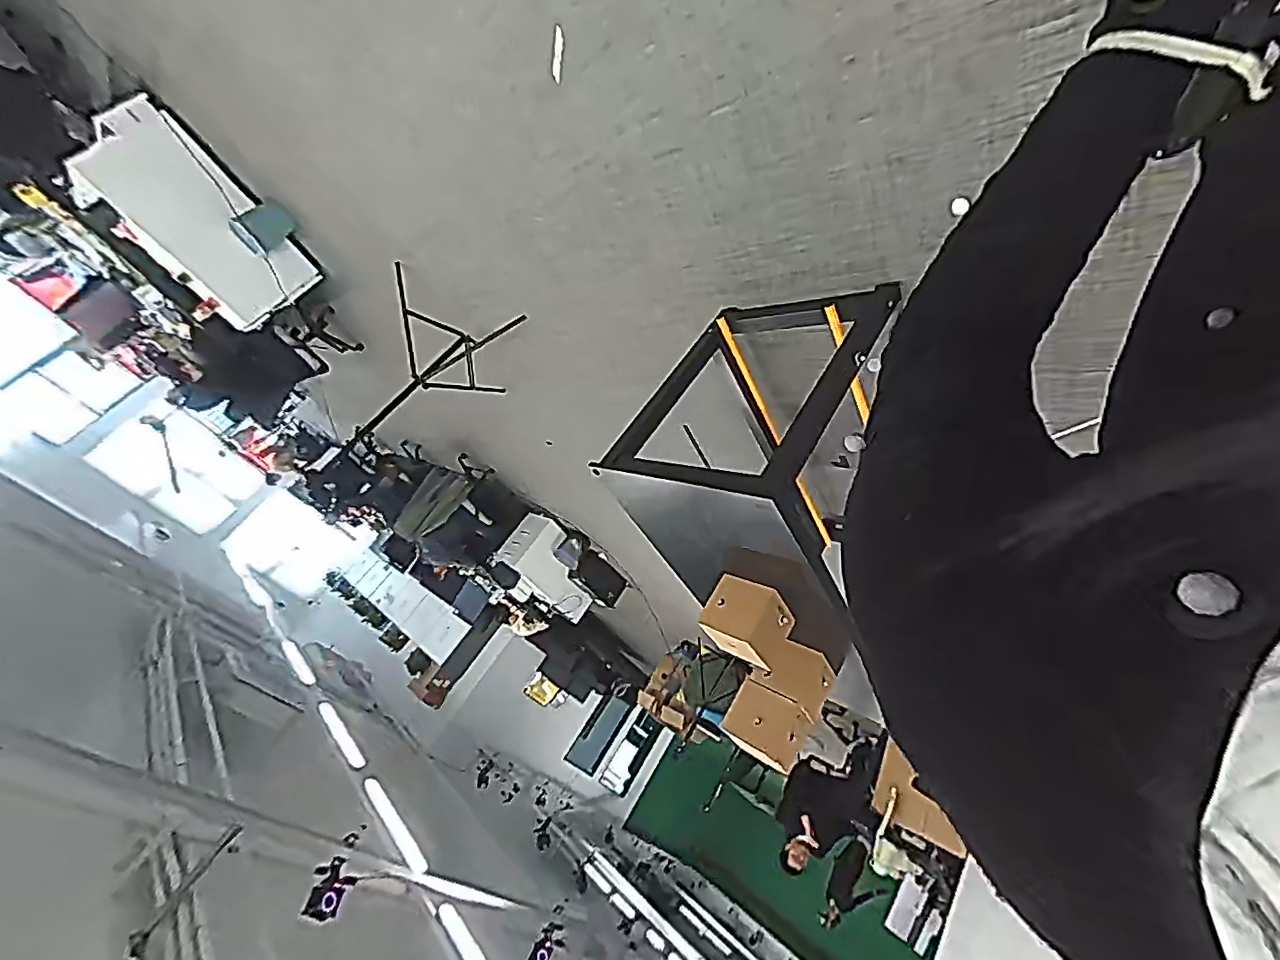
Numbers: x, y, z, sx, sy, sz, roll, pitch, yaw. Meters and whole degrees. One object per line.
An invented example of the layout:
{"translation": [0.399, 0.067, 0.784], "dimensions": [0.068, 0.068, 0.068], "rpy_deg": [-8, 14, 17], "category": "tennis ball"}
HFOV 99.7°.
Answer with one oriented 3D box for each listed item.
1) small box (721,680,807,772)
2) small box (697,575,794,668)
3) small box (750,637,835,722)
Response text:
{"translation": [0.382, 0.732, 1.626], "dimensions": [0.179, 0.176, 0.168], "rpy_deg": [9, 145, 47], "category": "small box"}
{"translation": [0.297, 0.385, 1.503], "dimensions": [0.179, 0.176, 0.168], "rpy_deg": [9, 147, 47], "category": "small box"}
{"translation": [0.476, 0.609, 1.680], "dimensions": [0.179, 0.176, 0.168], "rpy_deg": [12, 148, 45], "category": "small box"}
